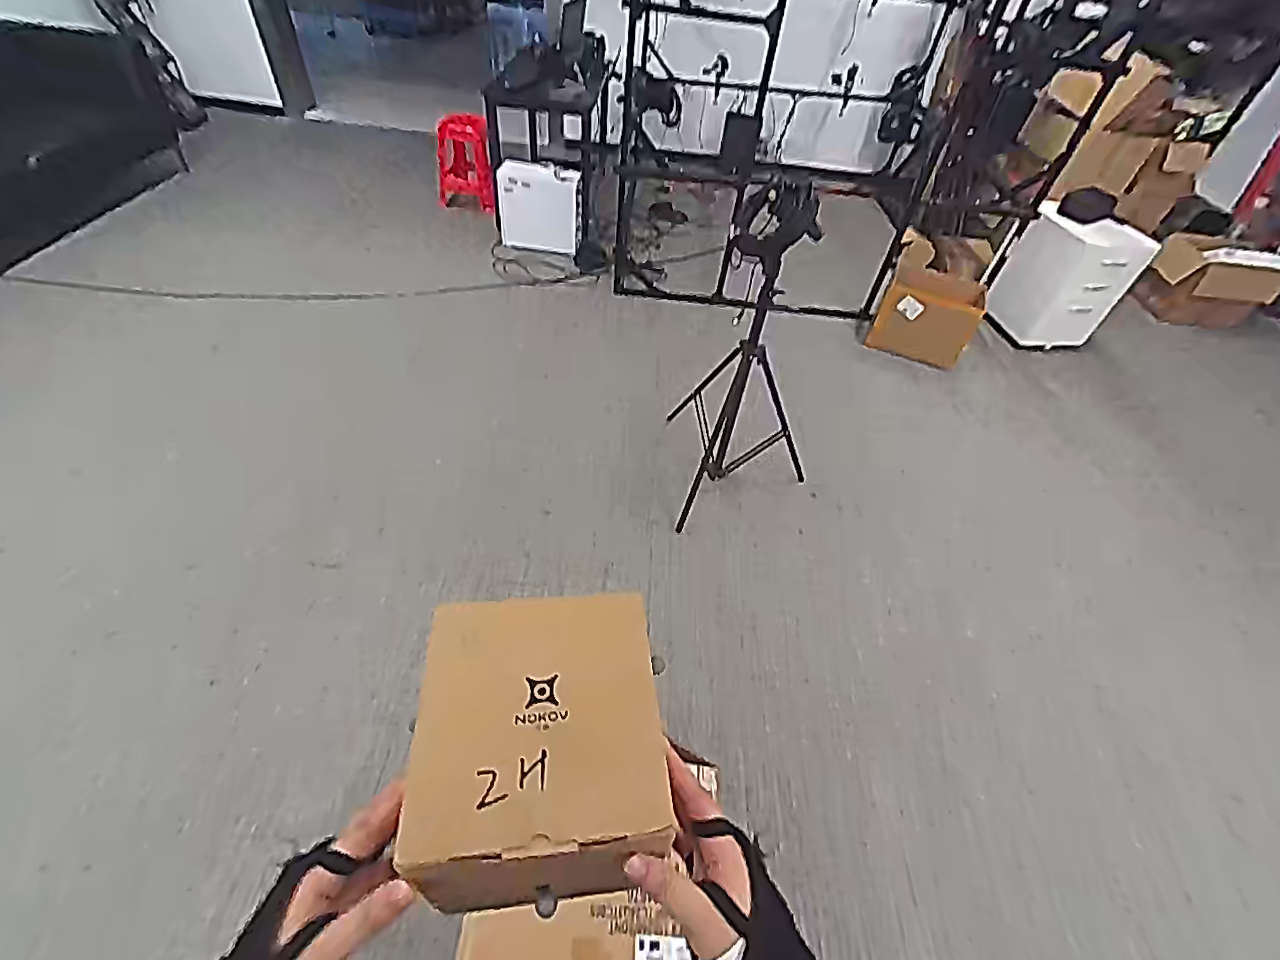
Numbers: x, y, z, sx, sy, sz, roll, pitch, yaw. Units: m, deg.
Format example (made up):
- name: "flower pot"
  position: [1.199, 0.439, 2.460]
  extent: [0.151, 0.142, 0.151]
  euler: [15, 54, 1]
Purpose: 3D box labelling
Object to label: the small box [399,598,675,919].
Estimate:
- name: "small box"
  position: [-0.076, 0.218, 0.433]
  extent: [0.168, 0.176, 0.179]
  euler: [-2, 44, -9]
